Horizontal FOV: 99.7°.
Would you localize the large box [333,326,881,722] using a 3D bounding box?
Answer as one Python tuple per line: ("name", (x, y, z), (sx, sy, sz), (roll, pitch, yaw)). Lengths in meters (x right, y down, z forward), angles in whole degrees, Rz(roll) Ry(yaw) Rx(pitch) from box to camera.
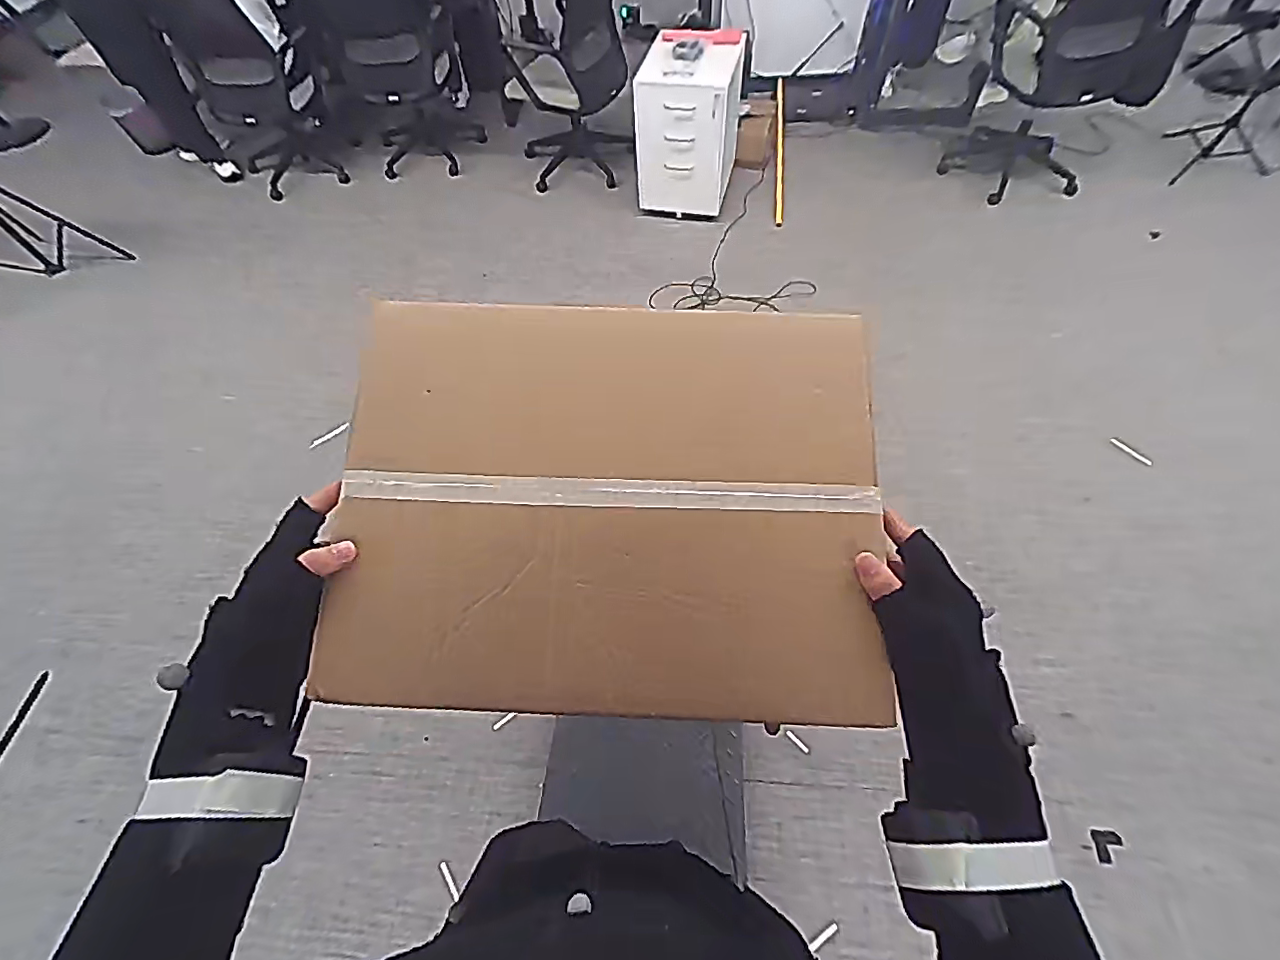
("large box", (-0.018, 0.055, 0.568), (0.408, 0.320, 0.320), (2, 75, 2))
